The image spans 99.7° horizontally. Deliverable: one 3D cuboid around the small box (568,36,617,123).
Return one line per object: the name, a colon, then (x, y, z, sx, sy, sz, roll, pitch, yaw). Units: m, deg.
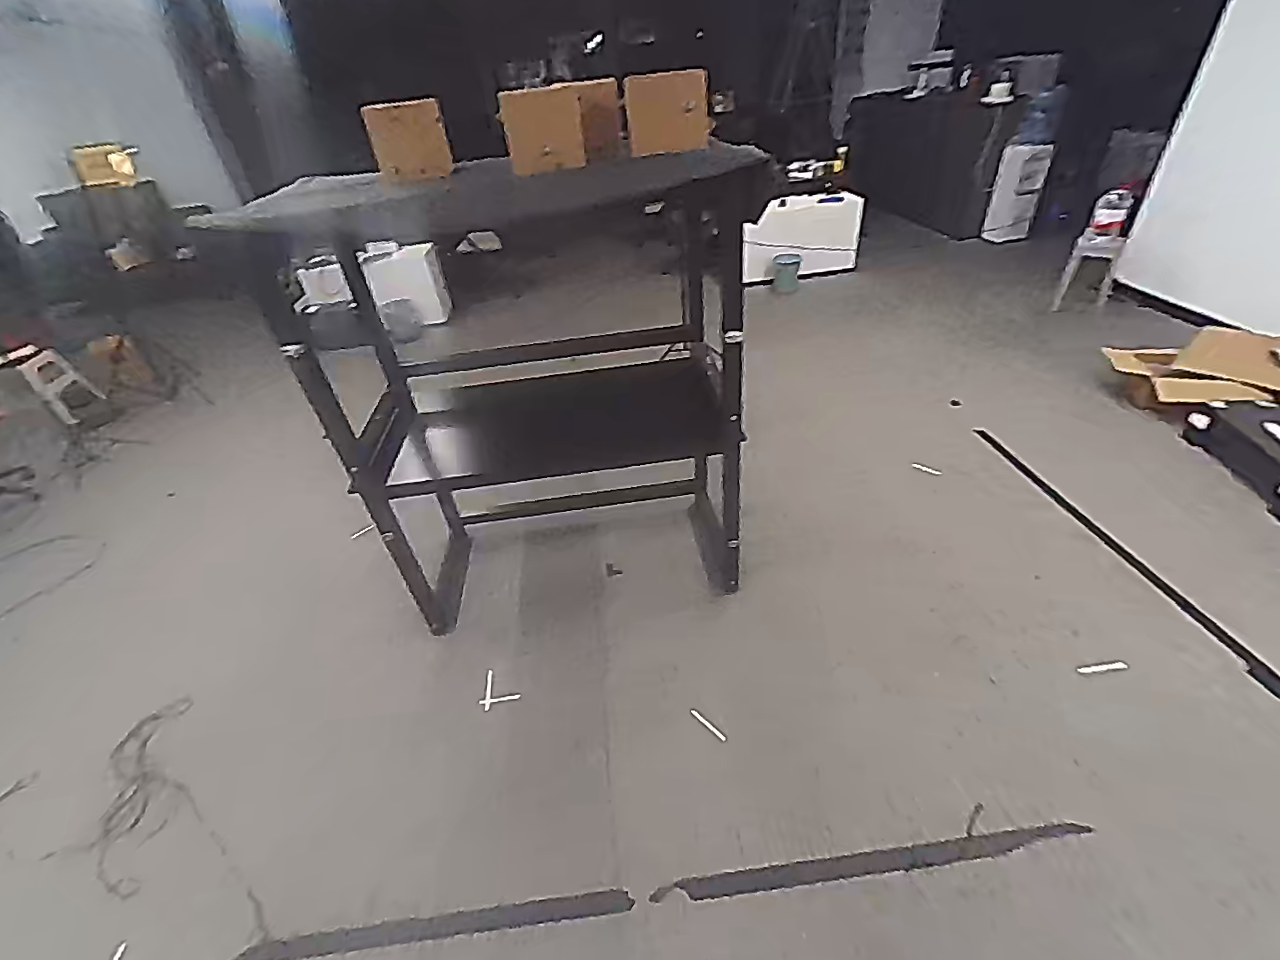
small box: (-0.153, -1.043, 1.416, 0.168, 0.176, 0.179, -8, 38, -1)

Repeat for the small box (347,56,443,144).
small box: (-0.620, -0.977, 1.394, 0.168, 0.176, 0.179, -10, 38, -5)

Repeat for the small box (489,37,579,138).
small box: (-0.237, -0.880, 1.218, 0.168, 0.176, 0.179, -12, 38, -6)
